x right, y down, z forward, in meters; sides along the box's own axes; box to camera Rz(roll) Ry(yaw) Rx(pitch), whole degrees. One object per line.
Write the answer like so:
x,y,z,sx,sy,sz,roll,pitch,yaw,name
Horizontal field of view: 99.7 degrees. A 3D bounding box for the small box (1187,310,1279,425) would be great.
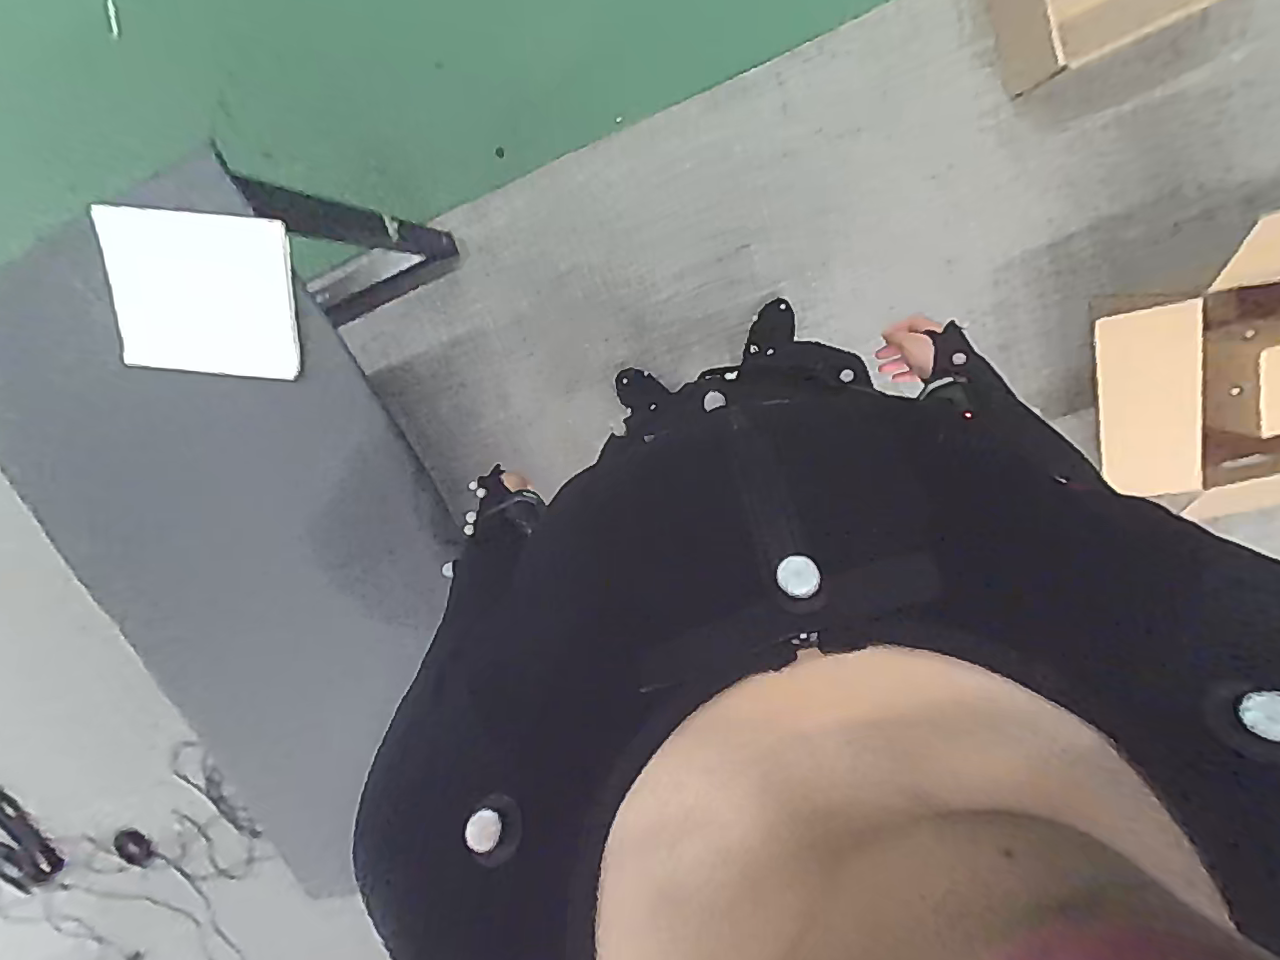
1.241,-0.229,1.068,0.168,0.176,0.179,-17,106,12,small box
